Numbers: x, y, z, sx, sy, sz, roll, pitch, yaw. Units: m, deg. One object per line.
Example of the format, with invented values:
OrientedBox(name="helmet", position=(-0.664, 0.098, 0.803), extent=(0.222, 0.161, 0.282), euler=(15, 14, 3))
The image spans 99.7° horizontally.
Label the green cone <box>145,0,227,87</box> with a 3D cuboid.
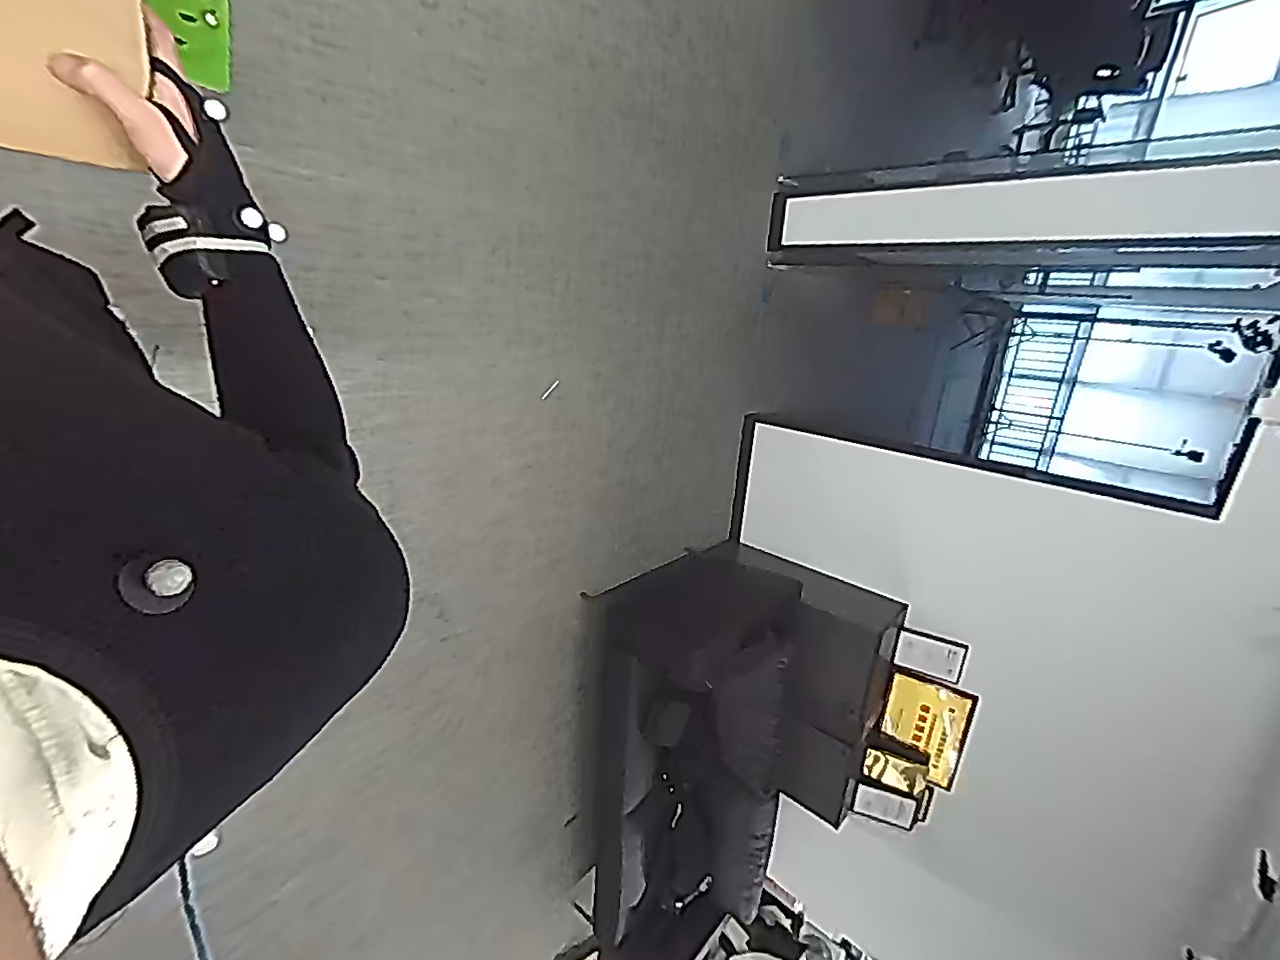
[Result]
OrientedBox(name="green cone", position=(-0.842, -0.910, 0.999), extent=(0.200, 0.368, 0.202), euler=(-7, 109, -49))
